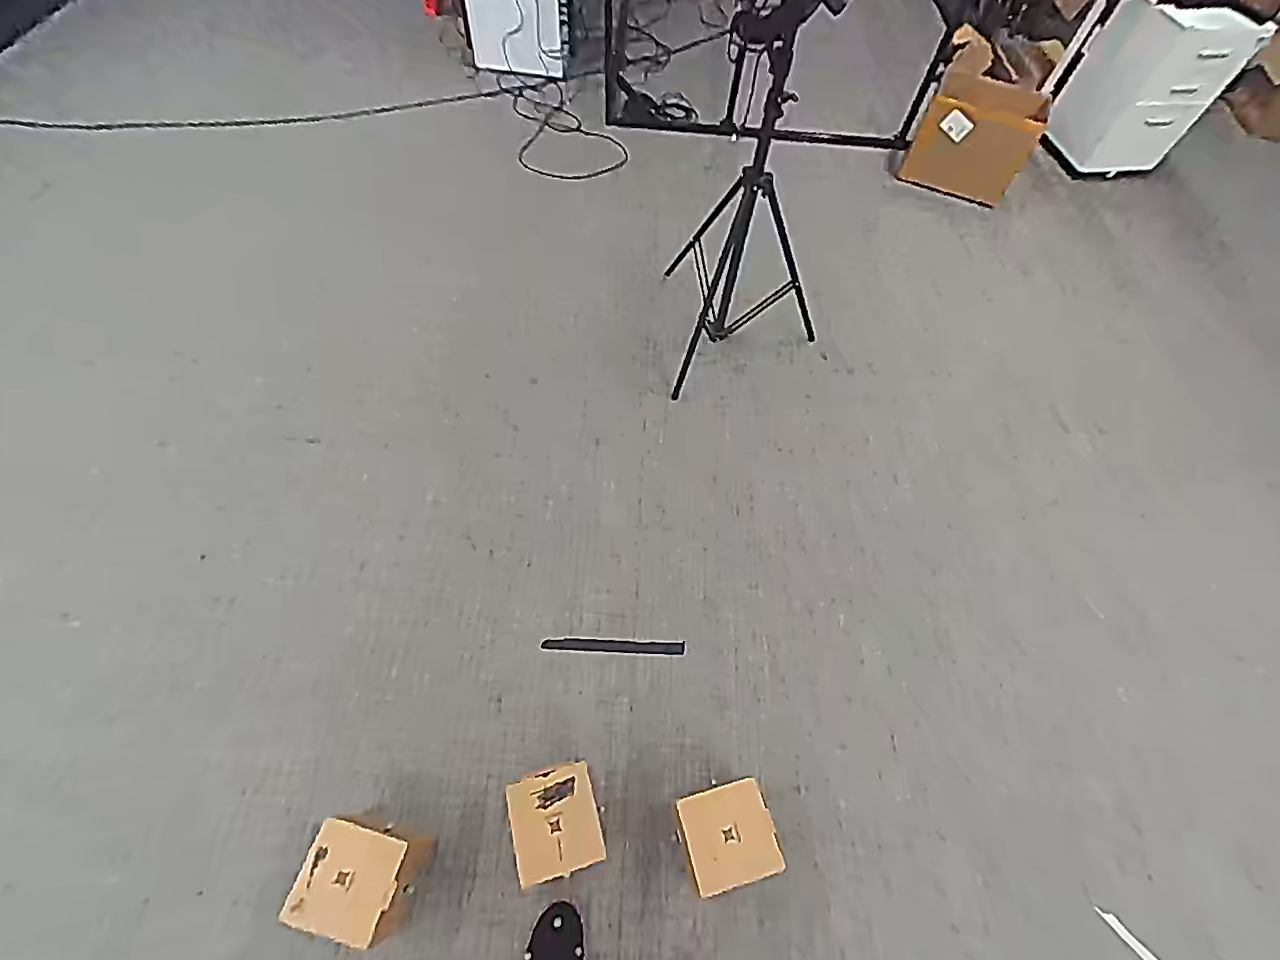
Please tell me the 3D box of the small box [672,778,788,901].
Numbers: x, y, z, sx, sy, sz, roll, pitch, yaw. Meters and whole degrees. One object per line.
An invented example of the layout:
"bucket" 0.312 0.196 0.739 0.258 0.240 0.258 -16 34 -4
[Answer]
"small box" 0.175 0.728 1.114 0.179 0.176 0.168 -13 61 -10

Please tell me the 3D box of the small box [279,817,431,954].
"small box" -0.534 0.769 1.048 0.179 0.176 0.168 15 60 5

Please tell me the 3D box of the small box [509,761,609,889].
"small box" -0.164 0.699 1.108 0.168 0.176 0.179 -13 62 -11
